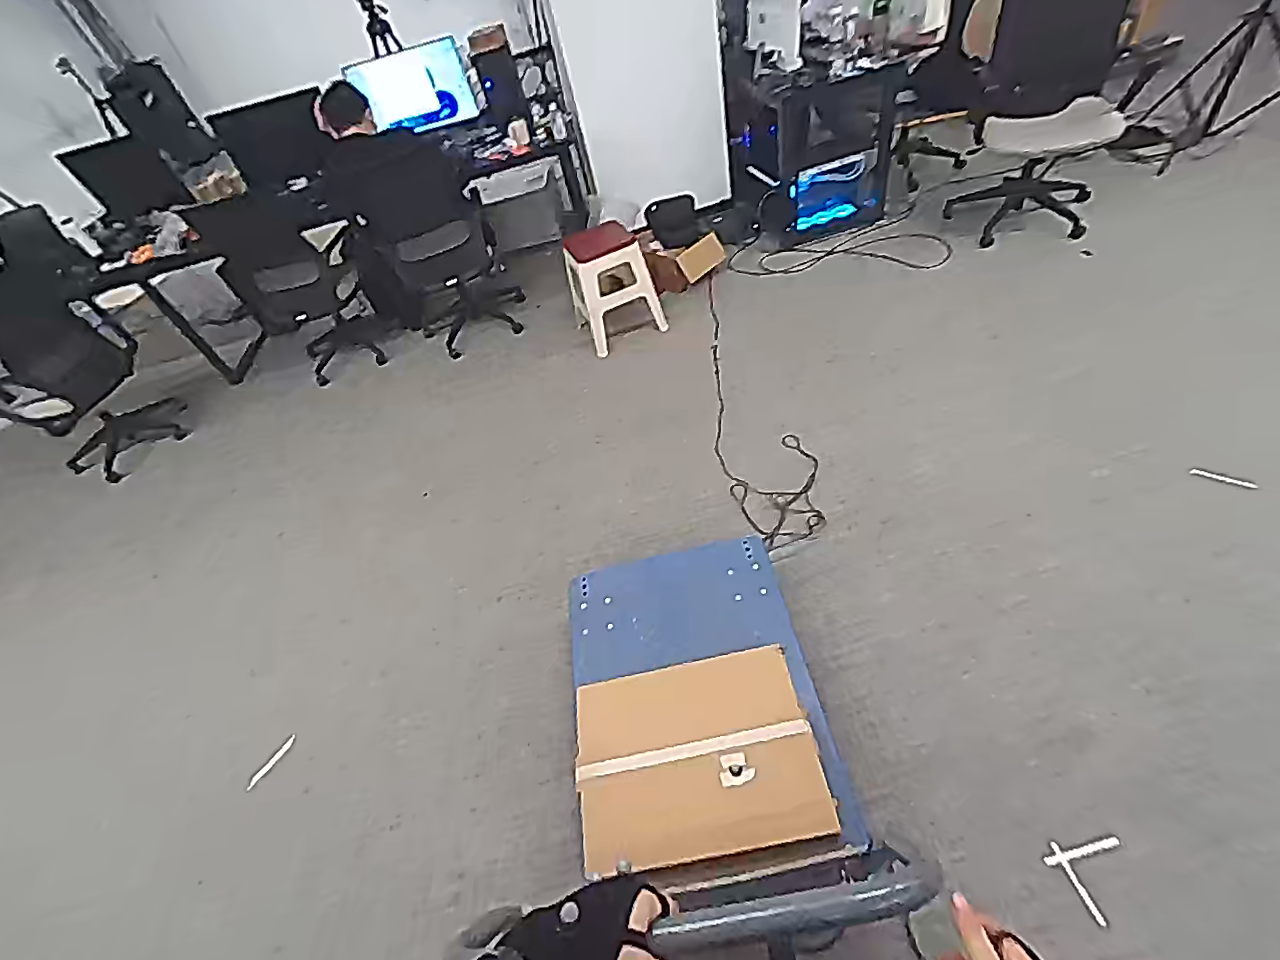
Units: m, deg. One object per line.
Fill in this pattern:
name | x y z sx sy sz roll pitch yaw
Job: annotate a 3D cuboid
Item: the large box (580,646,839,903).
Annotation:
large box | 0.124 0.574 1.047 0.408 0.320 0.320 -14 46 3
